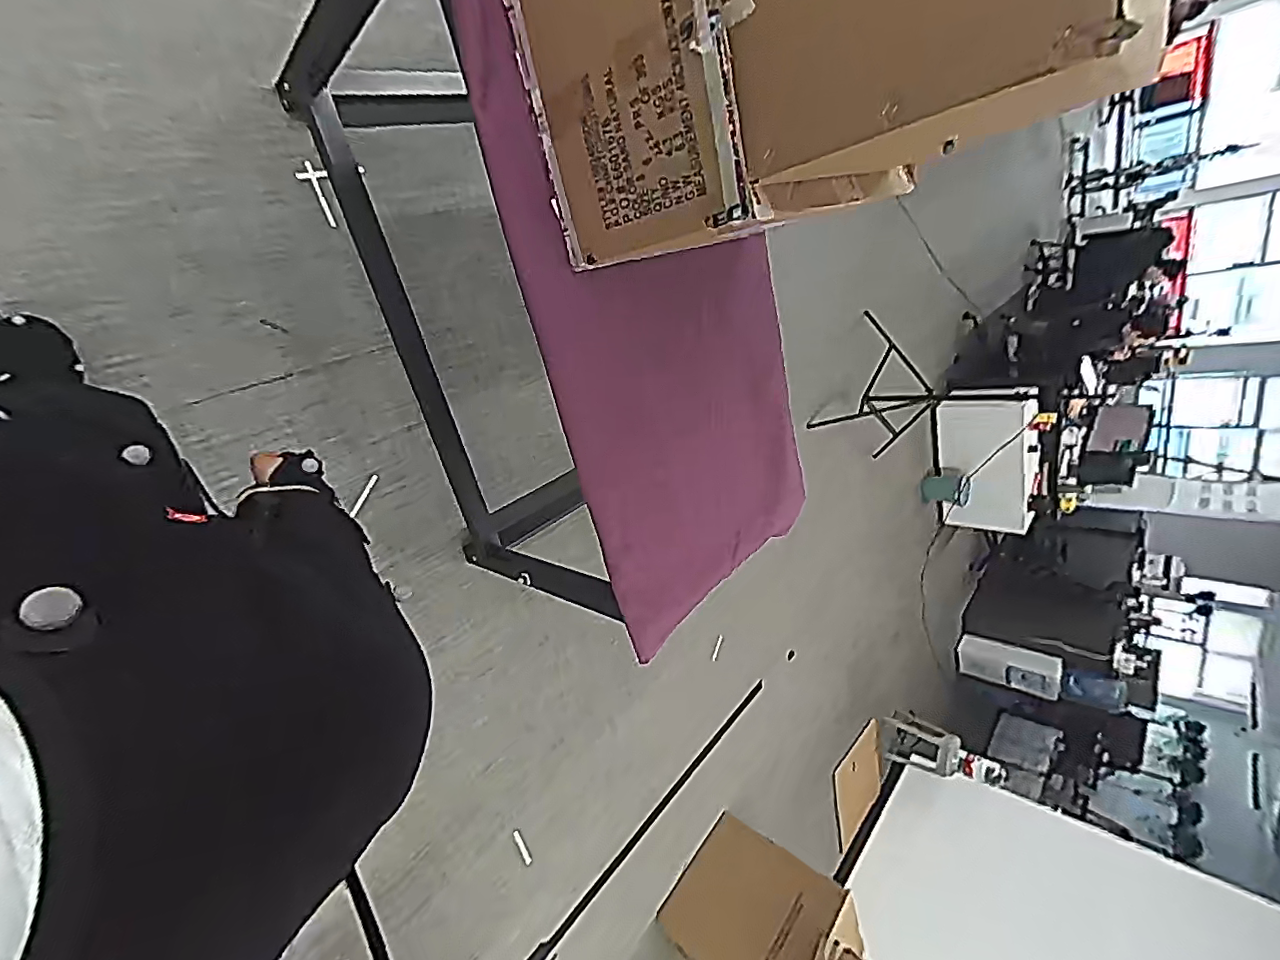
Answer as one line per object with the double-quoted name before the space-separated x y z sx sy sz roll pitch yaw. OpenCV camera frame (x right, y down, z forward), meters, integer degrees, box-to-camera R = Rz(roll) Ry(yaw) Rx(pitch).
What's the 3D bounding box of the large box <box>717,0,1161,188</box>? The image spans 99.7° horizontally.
"large box" 0.323 -0.531 0.566 0.408 0.320 0.320 -32 115 -38
